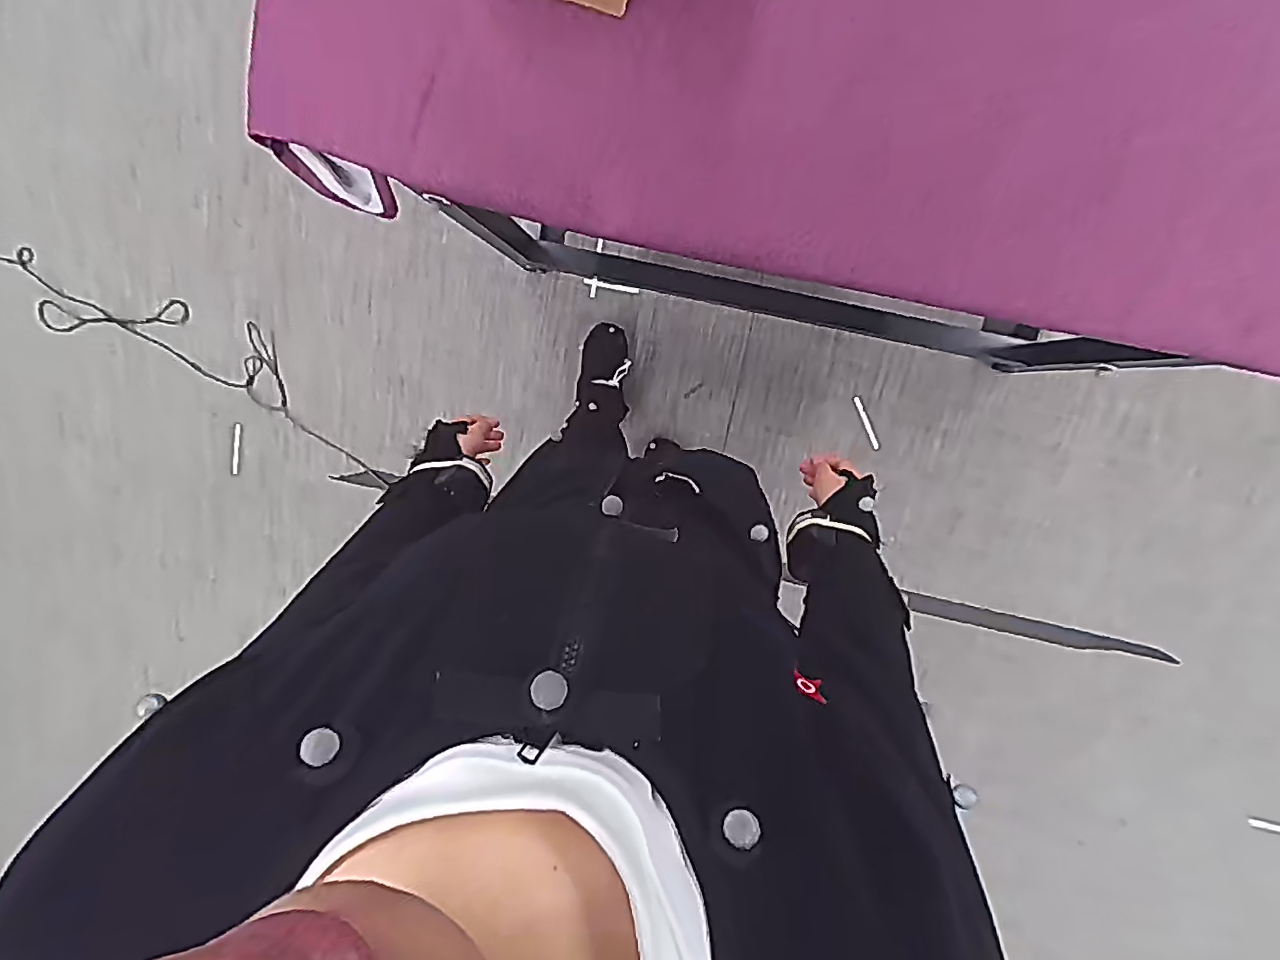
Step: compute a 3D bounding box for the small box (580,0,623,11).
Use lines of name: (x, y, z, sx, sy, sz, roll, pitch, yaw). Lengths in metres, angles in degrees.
small box: (-0.075, -0.558, 0.455, 0.168, 0.176, 0.179, 18, 101, 0)
